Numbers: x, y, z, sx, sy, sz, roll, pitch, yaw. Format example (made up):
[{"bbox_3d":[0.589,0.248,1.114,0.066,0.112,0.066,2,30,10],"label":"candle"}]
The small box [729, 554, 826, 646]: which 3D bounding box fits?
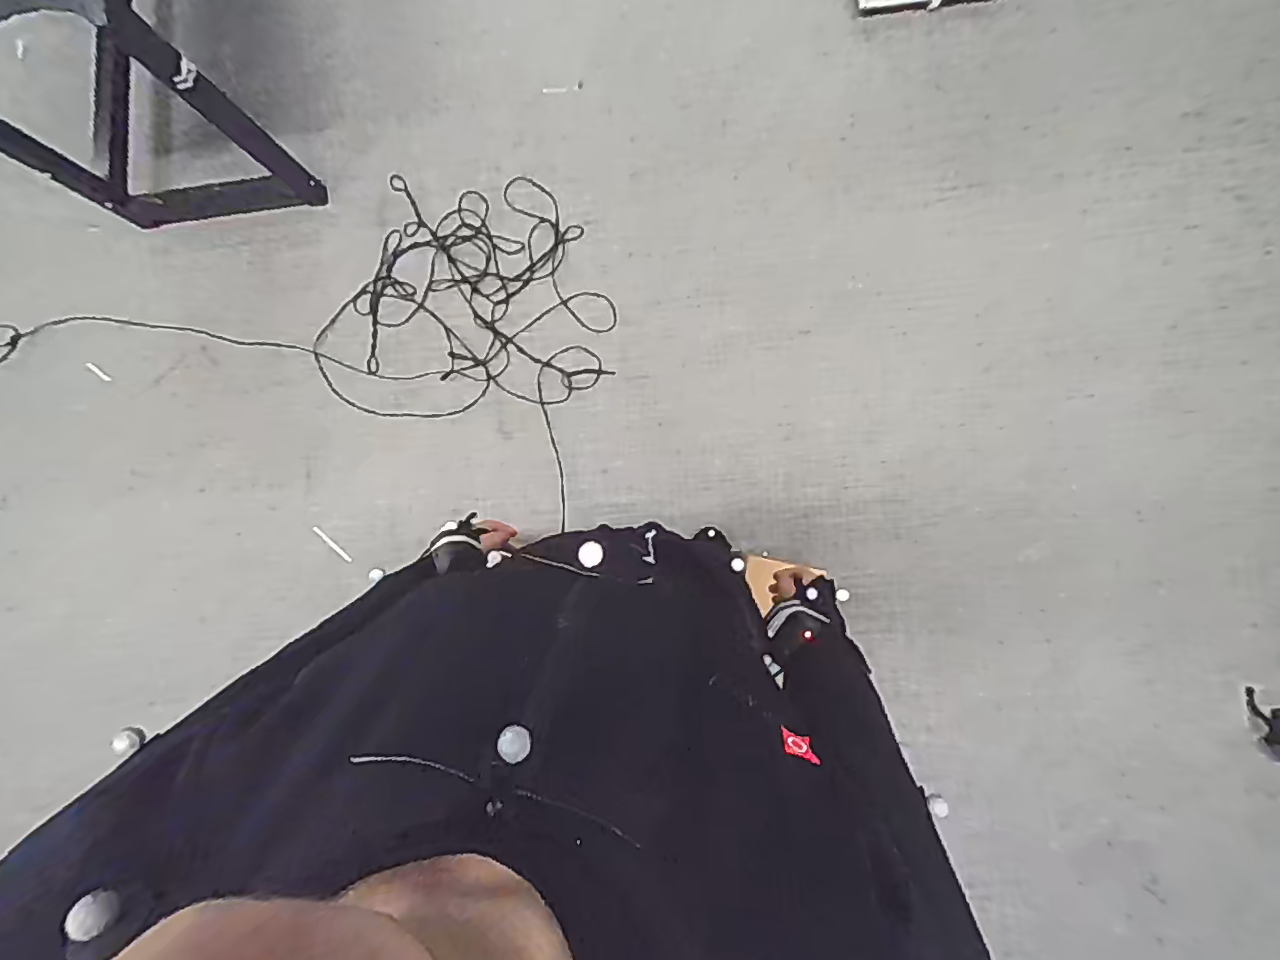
[{"bbox_3d":[0.313,0.270,1.263,0.179,0.176,0.168,11,87,6],"label":"small box"}]
